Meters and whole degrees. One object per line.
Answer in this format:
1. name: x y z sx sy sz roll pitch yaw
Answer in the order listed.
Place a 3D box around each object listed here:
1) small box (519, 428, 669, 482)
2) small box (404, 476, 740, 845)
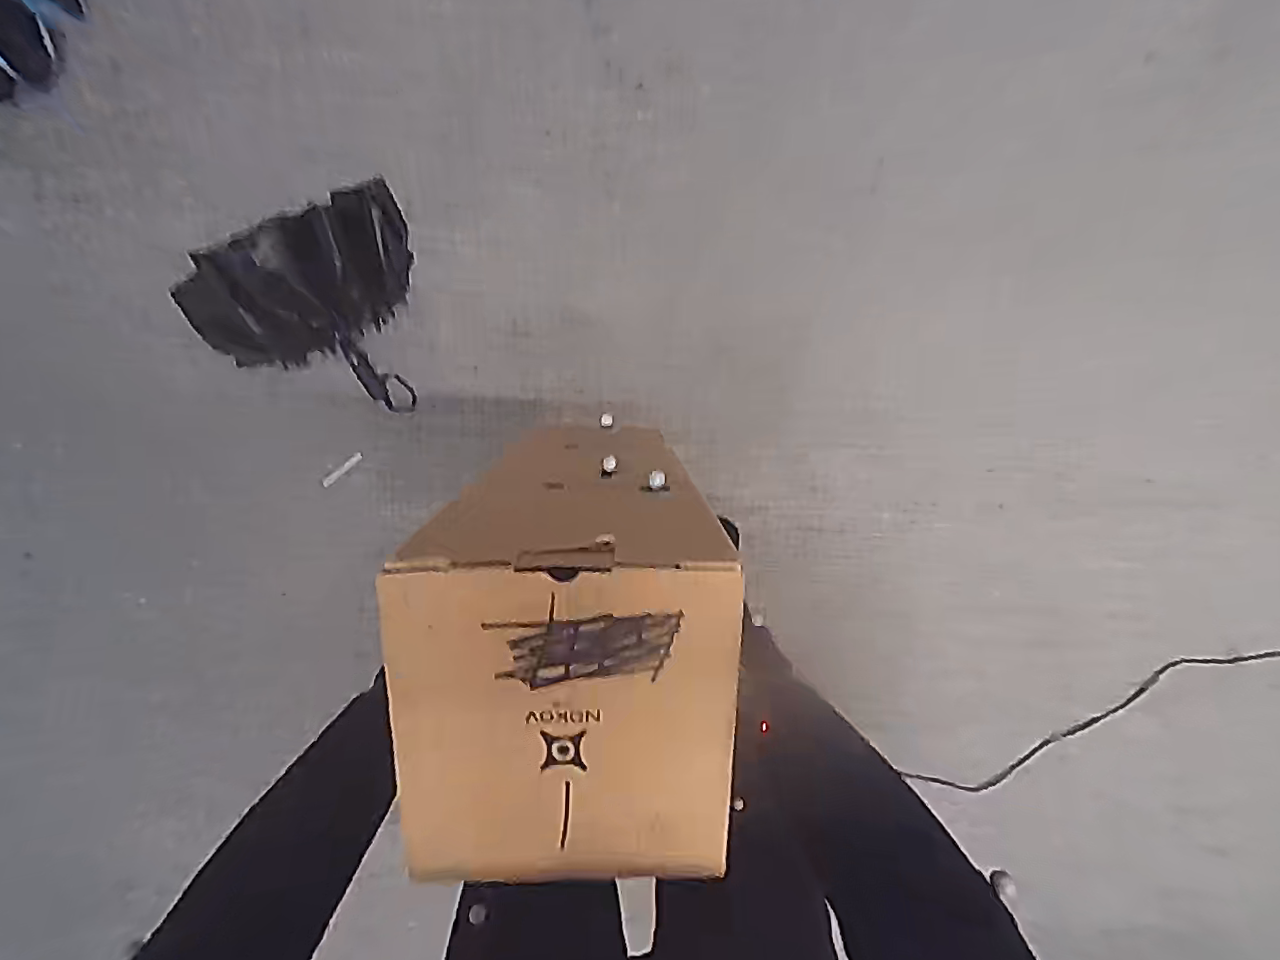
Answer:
1. small box: -0.053 0.031 0.678 0.168 0.176 0.179 0 100 -2
2. small box: -0.037 0.096 0.356 0.168 0.176 0.179 0 103 -2
